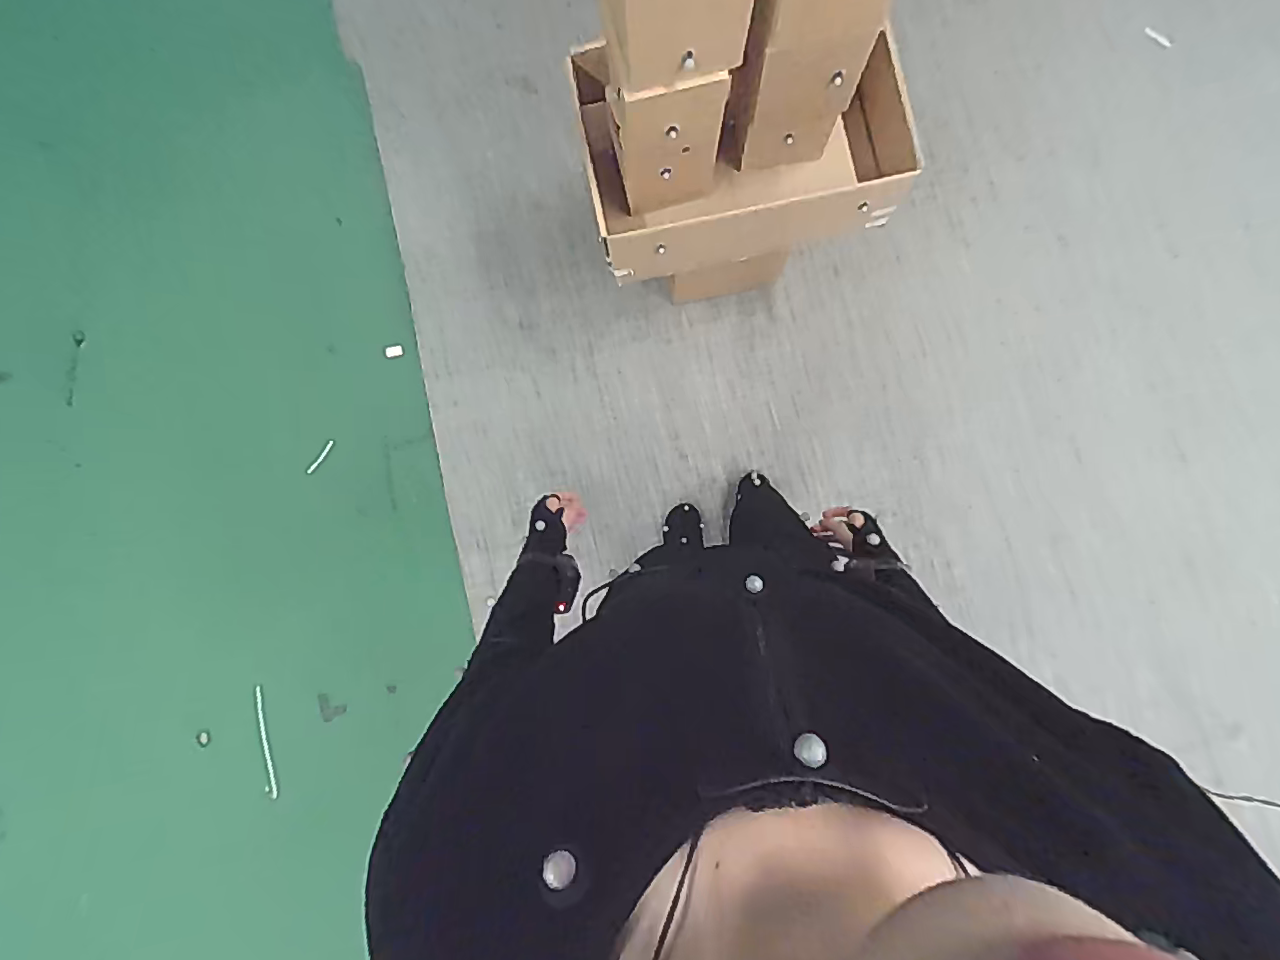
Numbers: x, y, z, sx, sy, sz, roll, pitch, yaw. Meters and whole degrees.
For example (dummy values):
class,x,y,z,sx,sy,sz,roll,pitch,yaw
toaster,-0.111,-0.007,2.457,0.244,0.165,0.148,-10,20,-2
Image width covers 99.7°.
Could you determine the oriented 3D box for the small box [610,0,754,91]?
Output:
class,x,y,z,sx,sy,sz,roll,pitch,yaw
small box,0.052,-0.687,0.743,0.179,0.176,0.168,-13,86,1
